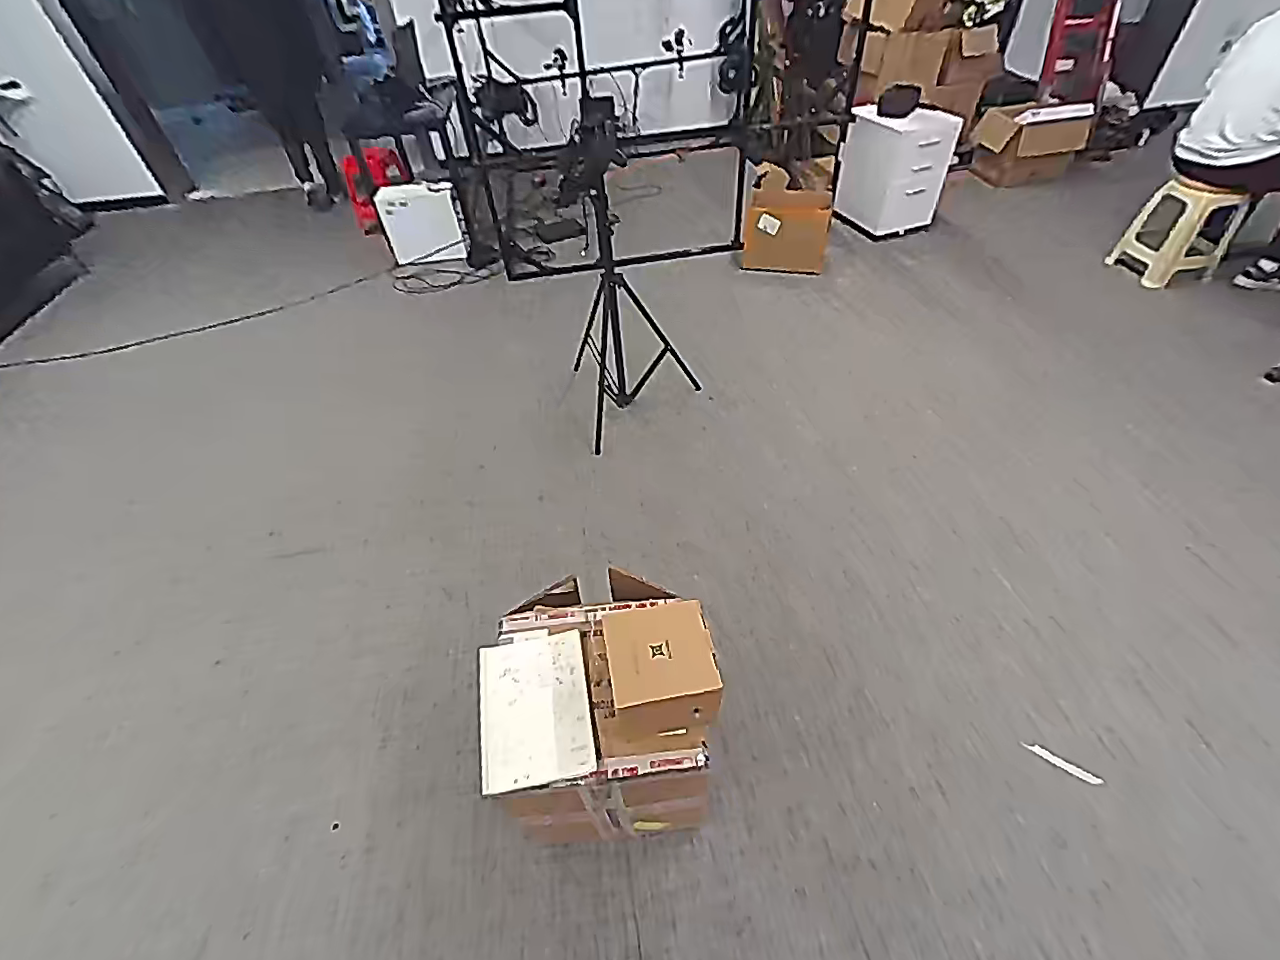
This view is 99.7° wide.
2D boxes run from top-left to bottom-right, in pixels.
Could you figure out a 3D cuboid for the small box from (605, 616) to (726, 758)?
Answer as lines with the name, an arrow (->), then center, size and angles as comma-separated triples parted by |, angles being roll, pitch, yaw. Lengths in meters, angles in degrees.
small box -> 0.039, 0.367, 0.955 | 0.179, 0.176, 0.168 | -10, 47, -6
